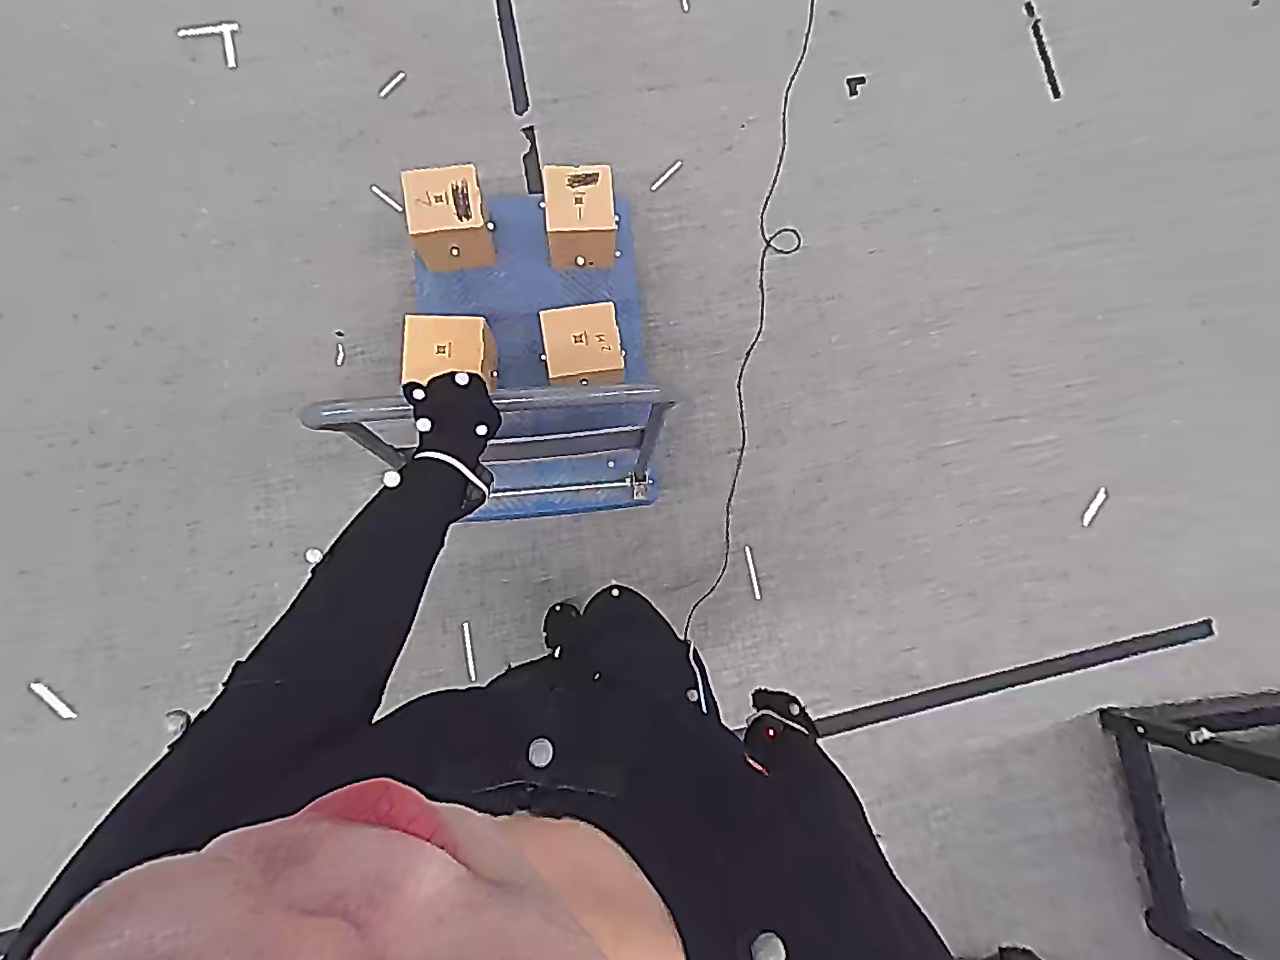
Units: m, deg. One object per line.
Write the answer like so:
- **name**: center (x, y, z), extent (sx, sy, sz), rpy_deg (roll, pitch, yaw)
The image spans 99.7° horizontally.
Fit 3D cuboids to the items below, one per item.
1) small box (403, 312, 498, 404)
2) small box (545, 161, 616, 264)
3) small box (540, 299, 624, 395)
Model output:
- **small box**: center (-0.443, -0.285, 1.287), extent (0.179, 0.176, 0.168), rpy_deg (-1, 80, -6)
- **small box**: center (-0.151, -0.674, 1.372), extent (0.168, 0.176, 0.179), rpy_deg (-4, 82, -5)
- **small box**: center (-0.137, -0.317, 1.314), extent (0.179, 0.176, 0.168), rpy_deg (-9, 82, -5)
